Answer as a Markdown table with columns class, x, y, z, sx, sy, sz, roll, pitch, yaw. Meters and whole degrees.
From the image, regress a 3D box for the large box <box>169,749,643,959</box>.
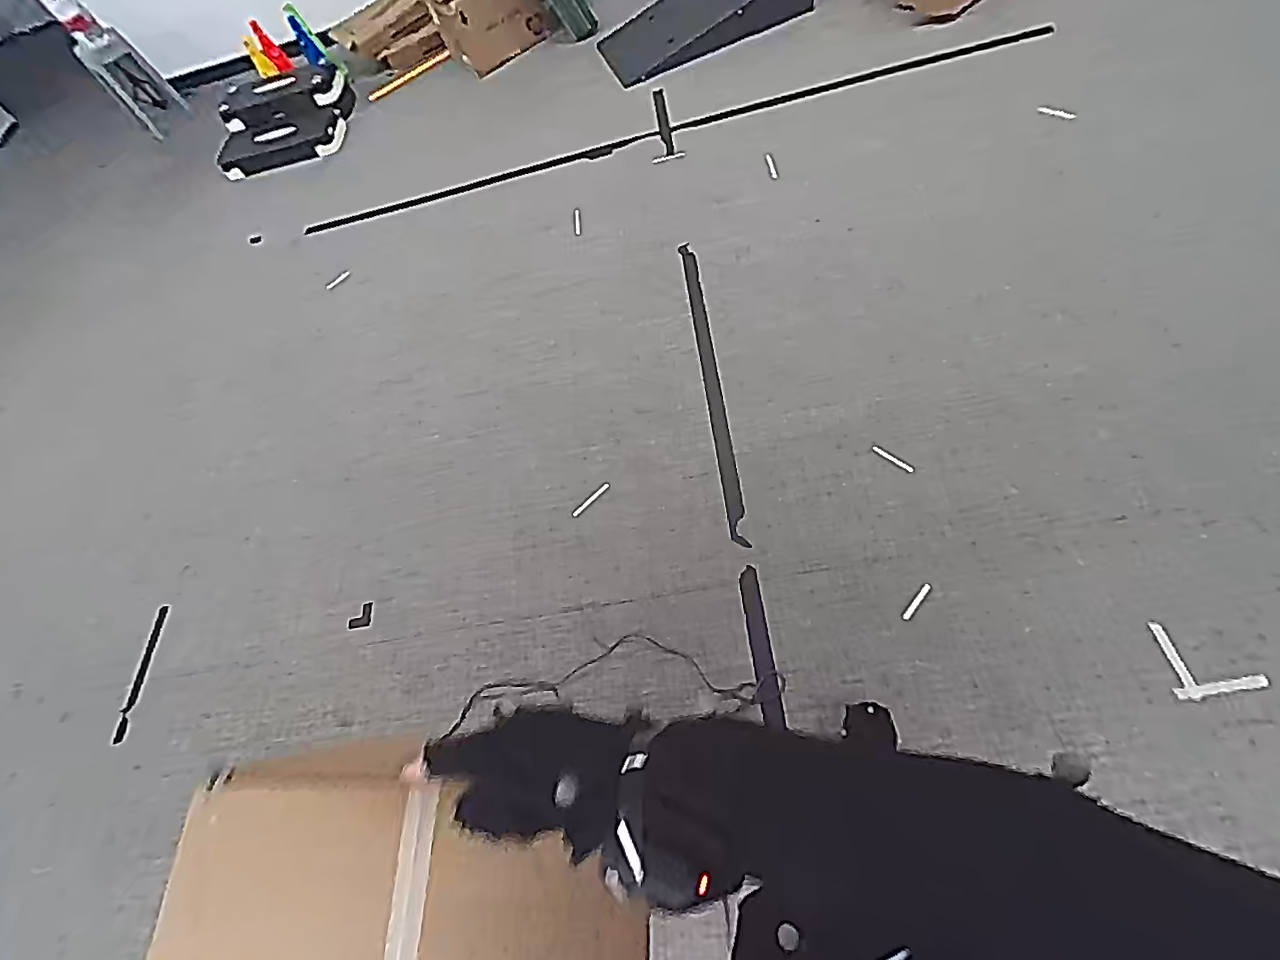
| class | x | y | z | sx | sy | sz | roll | pitch | yaw |
| --- | --- | --- | --- | --- | --- | --- | --- | --- | --- |
| large box | -0.159 | 0.462 | 0.456 | 0.320 | 0.320 | 0.408 | 1 | 67 | -4 |
